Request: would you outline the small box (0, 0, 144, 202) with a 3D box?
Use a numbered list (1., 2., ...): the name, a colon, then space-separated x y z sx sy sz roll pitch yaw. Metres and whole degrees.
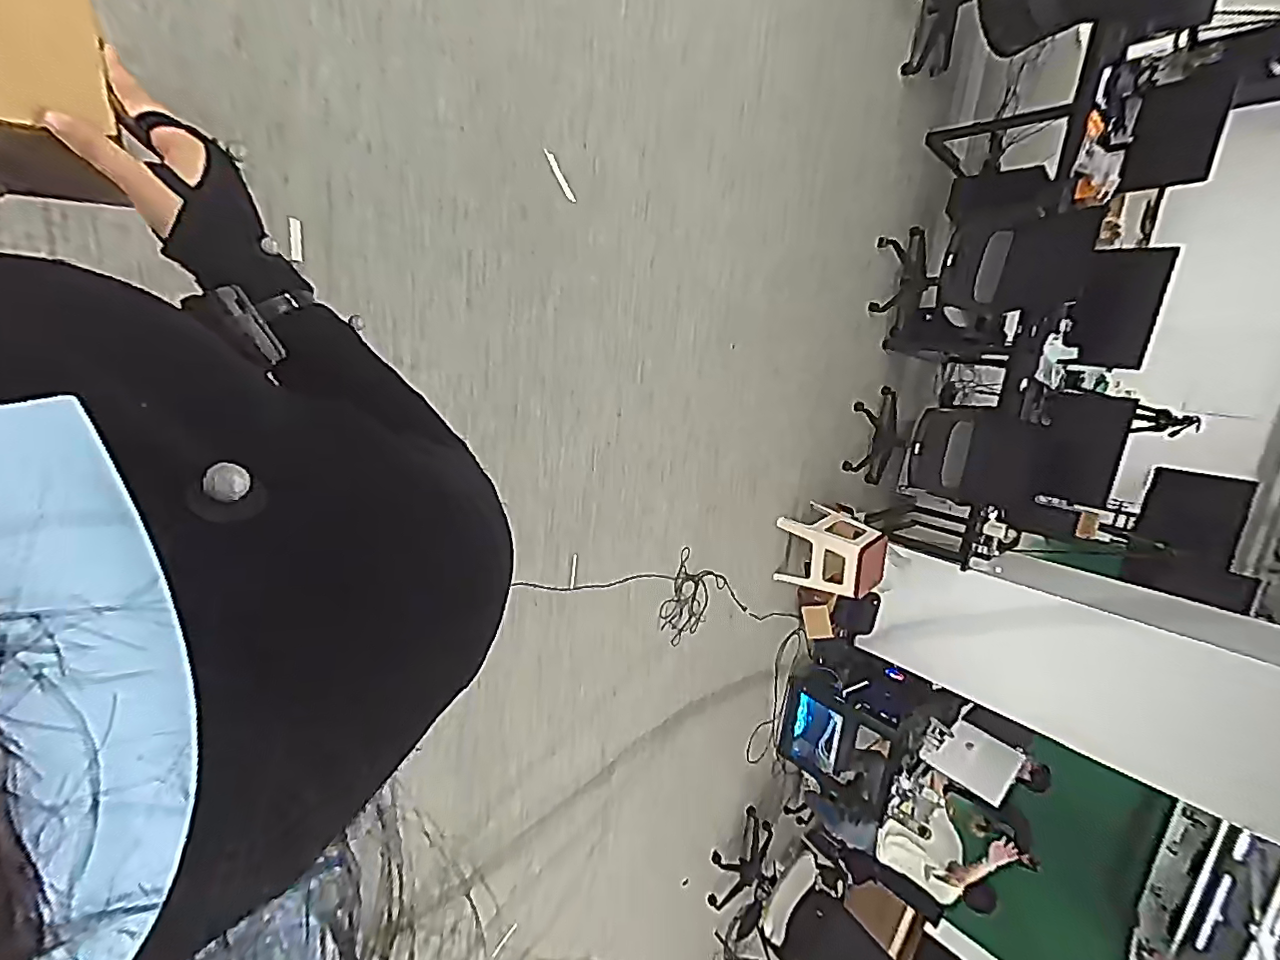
1. small box: -0.469 -0.317 0.370 0.168 0.176 0.179 -13 105 -38
